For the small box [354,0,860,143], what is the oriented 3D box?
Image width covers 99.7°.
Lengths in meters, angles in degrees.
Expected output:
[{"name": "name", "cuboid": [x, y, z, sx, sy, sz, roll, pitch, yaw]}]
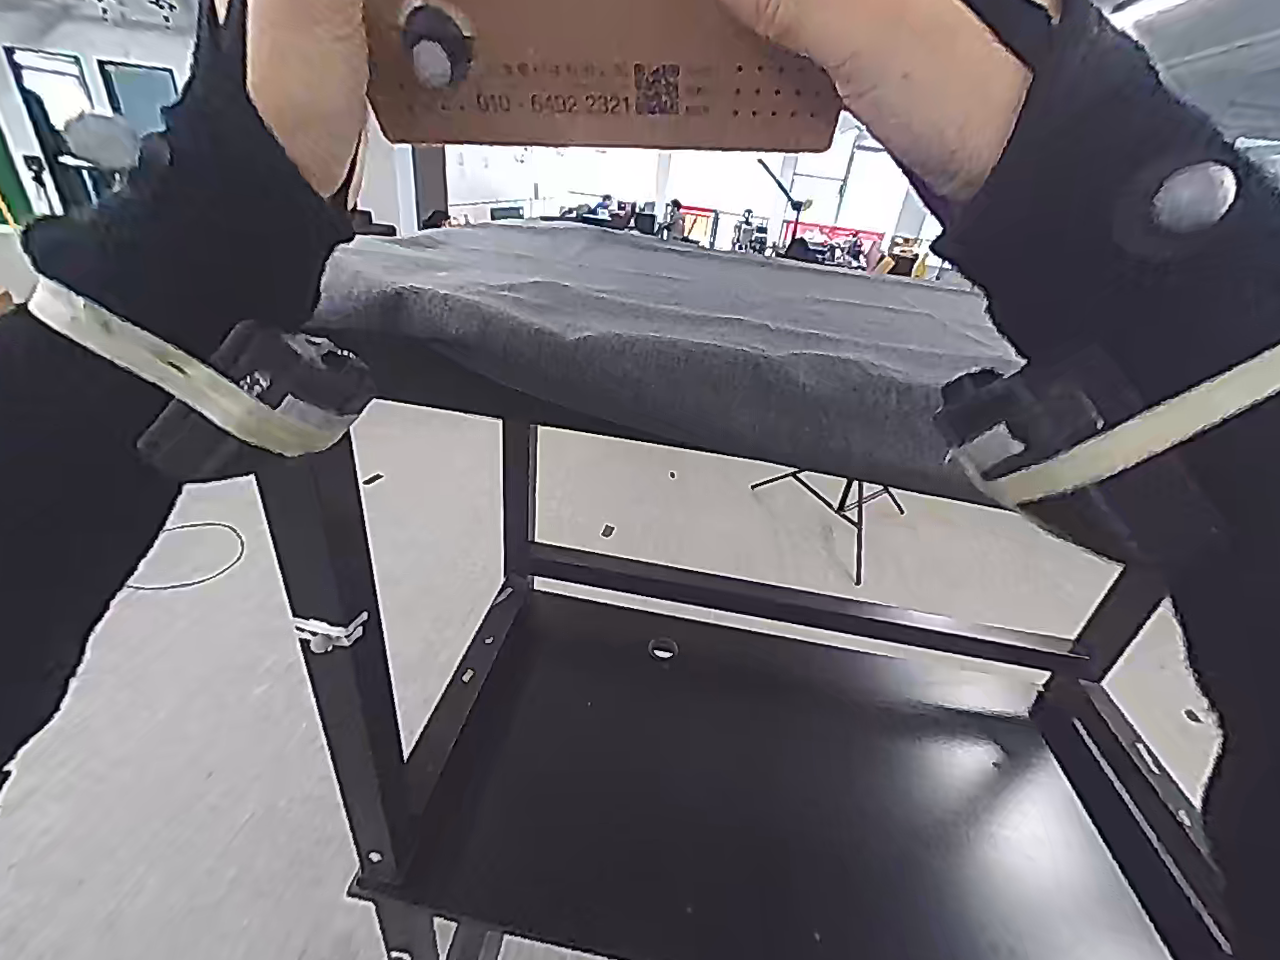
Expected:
[{"name": "small box", "cuboid": [-0.007, -0.236, 0.174, 0.168, 0.176, 0.179, 4, 58, 4]}]
